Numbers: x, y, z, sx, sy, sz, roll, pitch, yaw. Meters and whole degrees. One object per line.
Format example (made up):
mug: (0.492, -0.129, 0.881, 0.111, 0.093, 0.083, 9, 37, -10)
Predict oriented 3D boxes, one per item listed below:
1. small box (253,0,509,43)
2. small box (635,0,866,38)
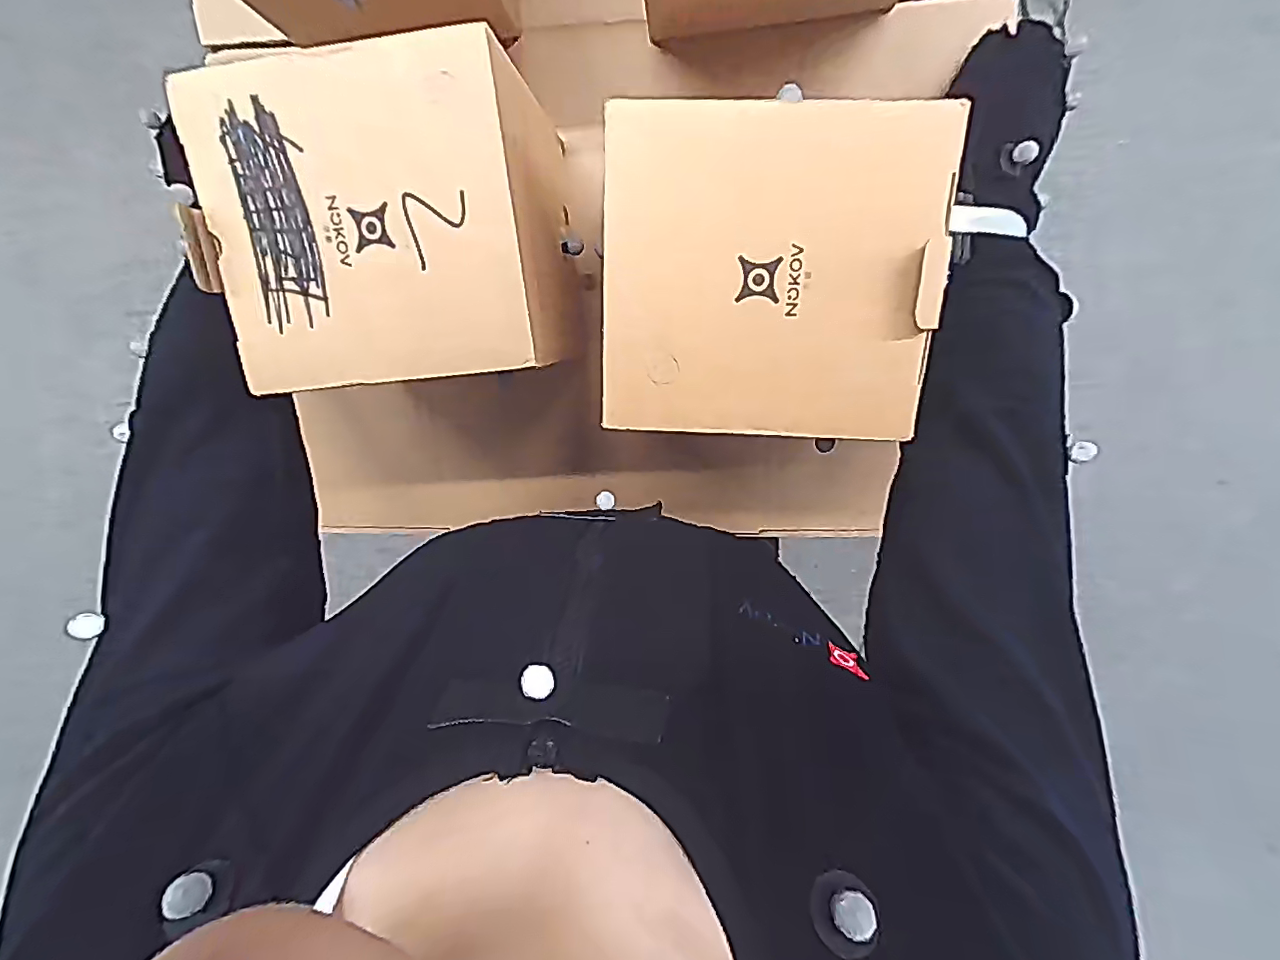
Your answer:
small box: (-0.184, -0.392, 0.313, 0.168, 0.176, 0.179, -1, 104, 5)
small box: (0.075, -0.383, 0.292, 0.179, 0.176, 0.168, -2, 104, 7)
